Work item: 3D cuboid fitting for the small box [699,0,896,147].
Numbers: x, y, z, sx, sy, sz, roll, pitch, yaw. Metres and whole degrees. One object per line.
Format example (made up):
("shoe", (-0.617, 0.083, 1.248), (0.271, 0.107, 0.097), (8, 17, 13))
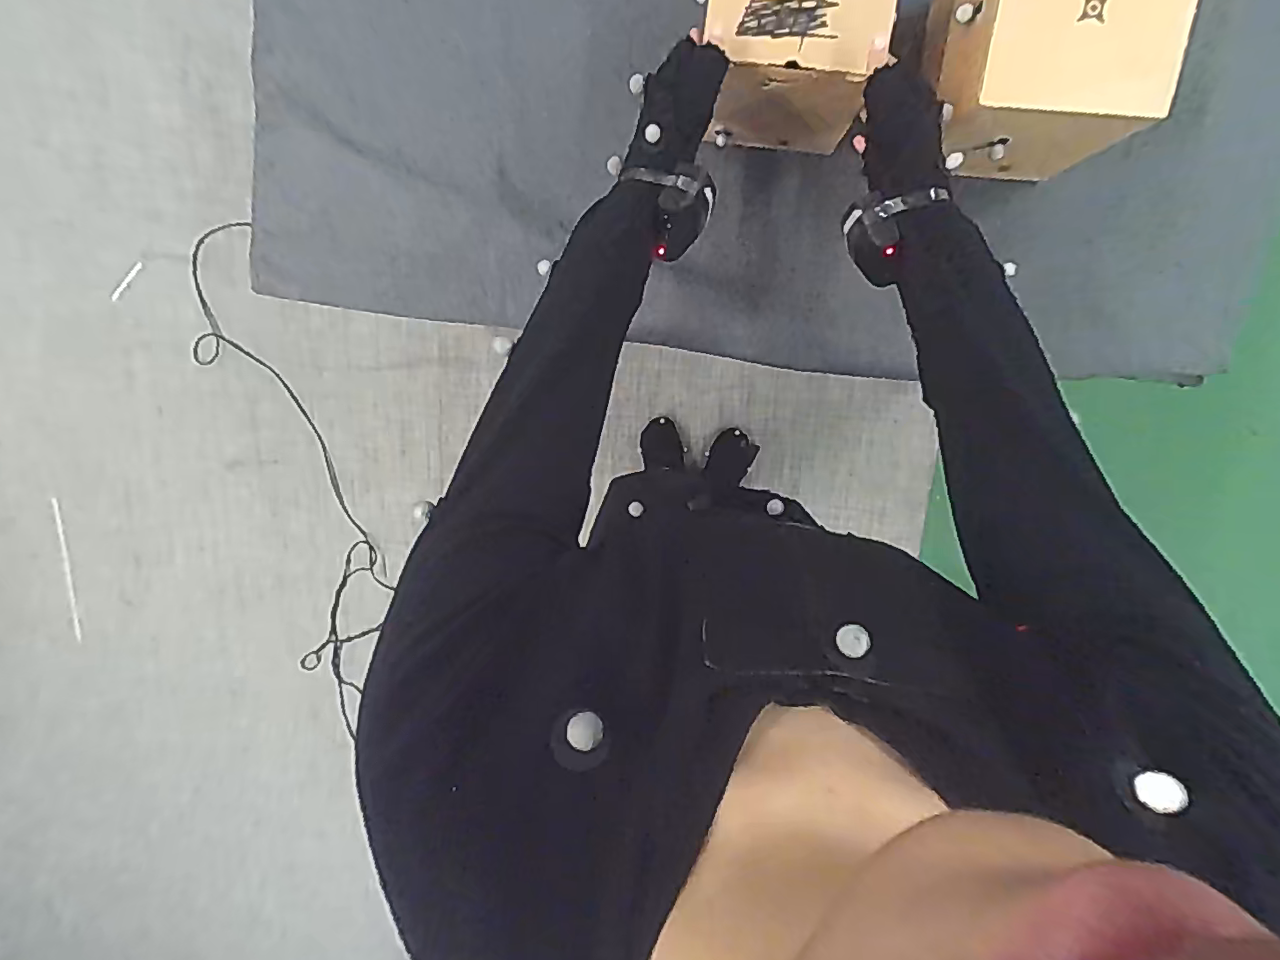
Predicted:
("small box", (0.154, -0.469, 0.548), (0.168, 0.176, 0.179), (8, 101, 3))

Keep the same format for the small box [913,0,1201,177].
("small box", (0.398, -0.426, 0.540), (0.168, 0.176, 0.179), (6, 101, 3))
